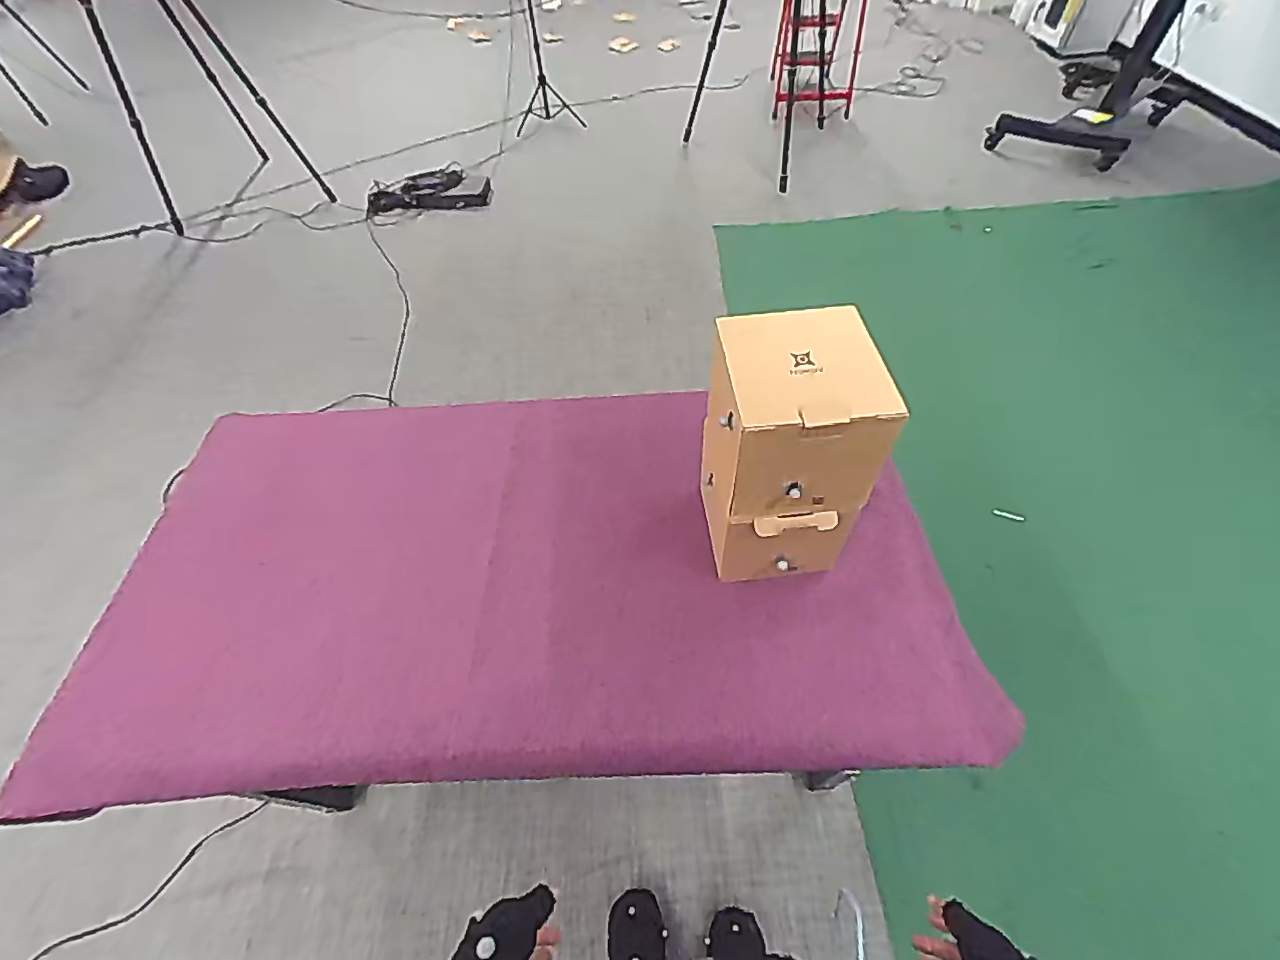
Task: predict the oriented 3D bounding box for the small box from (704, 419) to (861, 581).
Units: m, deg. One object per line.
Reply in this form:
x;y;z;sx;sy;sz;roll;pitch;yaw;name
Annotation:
0.186;0.024;0.769;0.168;0.176;0.179;-6;54;0;small box

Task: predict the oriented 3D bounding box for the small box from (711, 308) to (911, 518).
0.180;-0.076;0.640;0.168;0.176;0.179;-6;55;-1;small box
